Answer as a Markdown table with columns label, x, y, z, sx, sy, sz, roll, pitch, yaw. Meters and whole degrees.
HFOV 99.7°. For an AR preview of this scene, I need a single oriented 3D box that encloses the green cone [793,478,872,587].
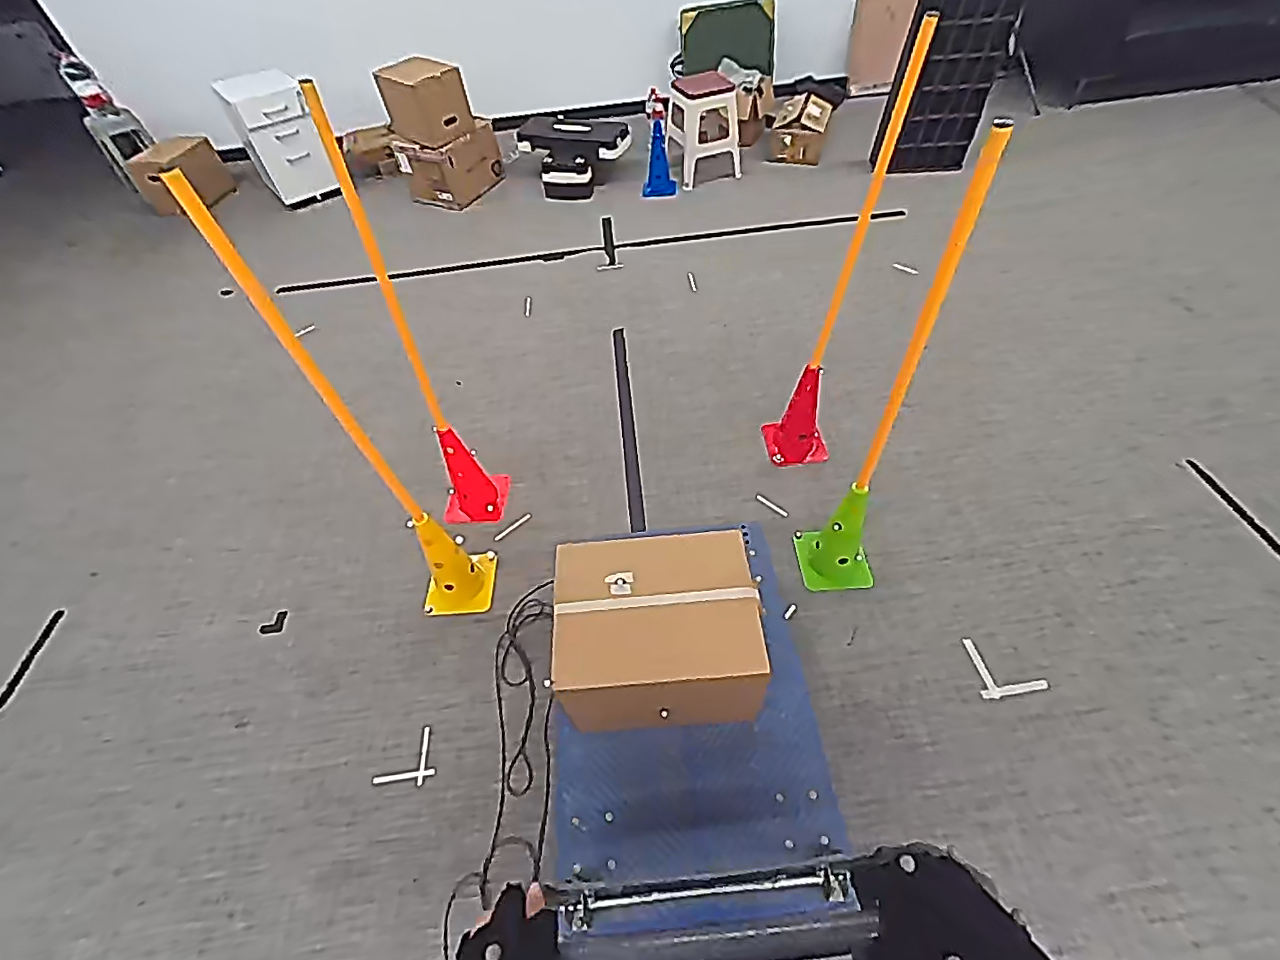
| label | x | y | z | sx | sy | sz | roll | pitch | yaw |
| --- | --- | --- | --- | --- | --- | --- | --- | --- | --- |
| green cone | 0.571 | 0.126 | 1.508 | 0.202 | 0.368 | 0.200 | -4 | 51 | 1 |

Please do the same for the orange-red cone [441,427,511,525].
| label | x | y | z | sx | sy | sz | roll | pitch | yaw |
| --- | --- | --- | --- | --- | --- | --- | --- | --- | --- |
| orange-red cone | -0.571 | -0.037 | 1.752 | 0.198 | 0.360 | 0.199 | -1 | 50 | 4 |

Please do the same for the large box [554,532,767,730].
| label | x | y | z | sx | sy | sz | roll | pitch | yaw |
| --- | --- | --- | --- | --- | --- | --- | --- | --- | --- |
| large box | 0.041 | 0.344 | 1.200 | 0.408 | 0.320 | 0.320 | -6 | 51 | 2 |

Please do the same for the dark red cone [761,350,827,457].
| label | x | y | z | sx | sy | sz | roll | pitch | yaw |
| --- | --- | --- | --- | --- | --- | --- | --- | --- | --- |
| dark red cone | 0.540 | -0.262 | 1.799 | 0.201 | 0.394 | 0.202 | -6 | 51 | -2 |
